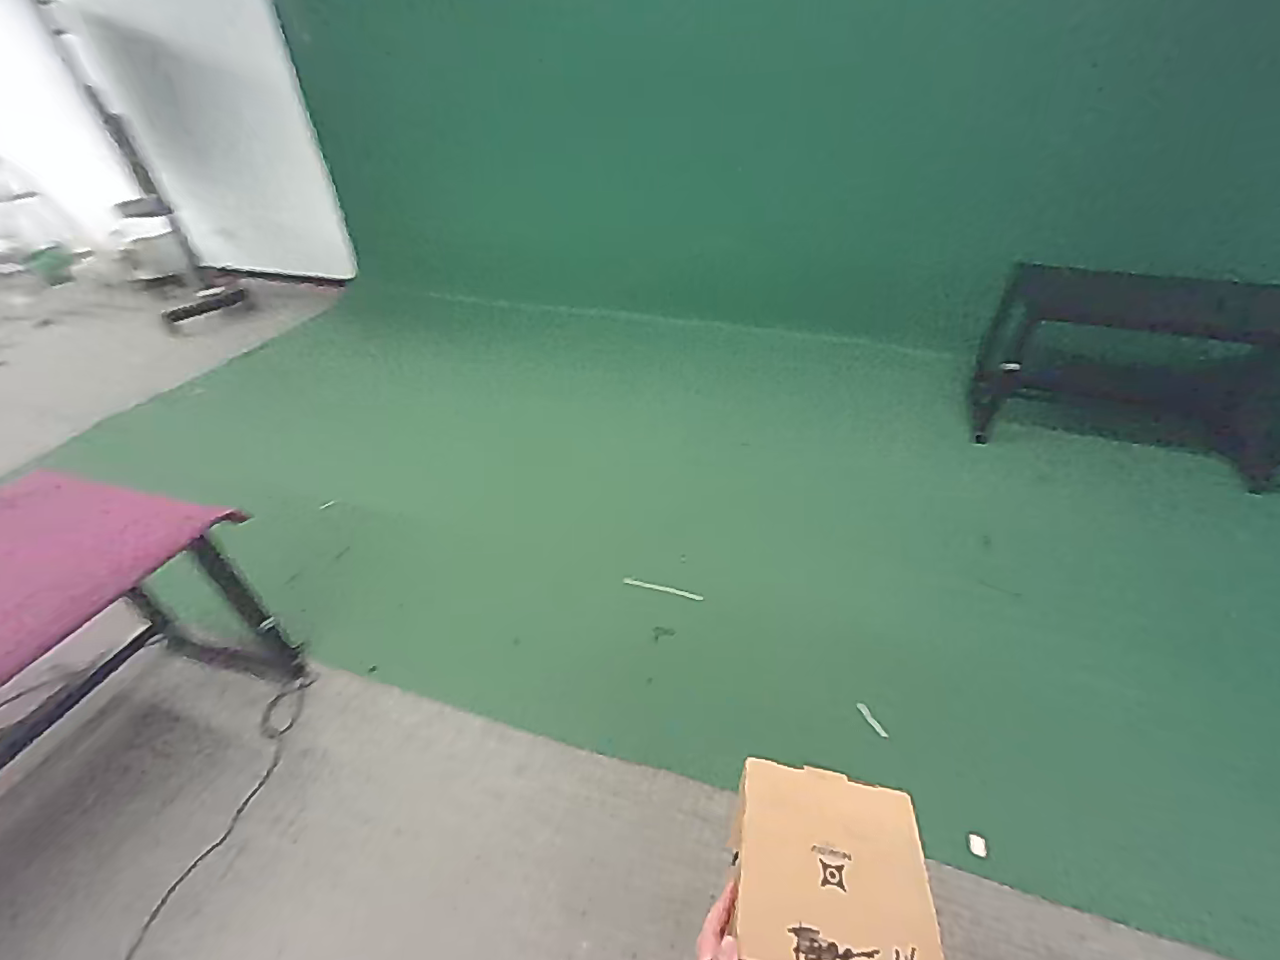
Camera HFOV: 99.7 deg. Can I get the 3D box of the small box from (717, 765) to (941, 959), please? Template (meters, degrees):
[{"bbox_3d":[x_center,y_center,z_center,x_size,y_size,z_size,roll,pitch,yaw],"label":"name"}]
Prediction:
[{"bbox_3d":[0.168,0.424,0.528,0.168,0.176,0.179,9,31,9],"label":"small box"}]
